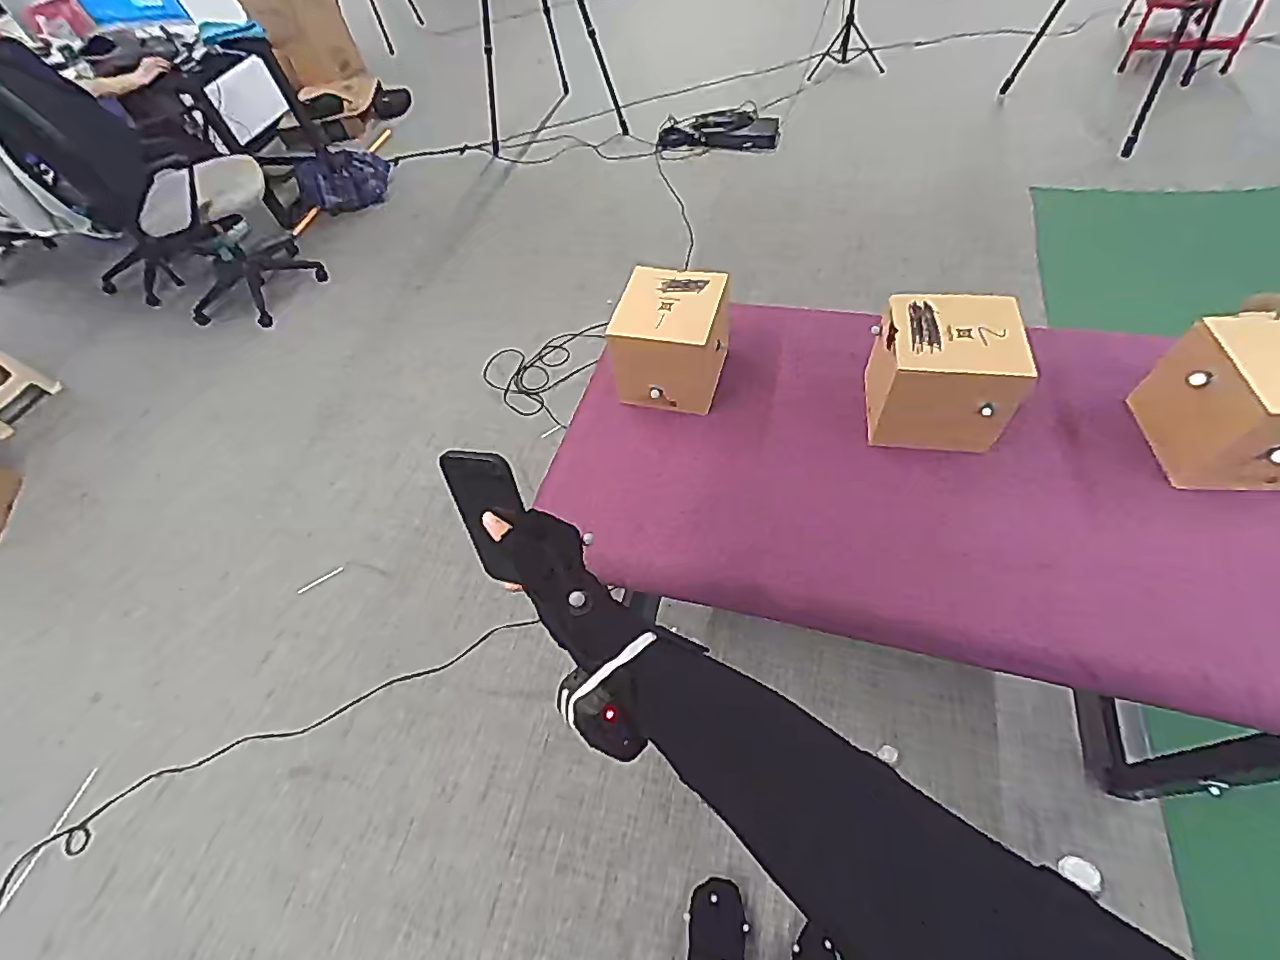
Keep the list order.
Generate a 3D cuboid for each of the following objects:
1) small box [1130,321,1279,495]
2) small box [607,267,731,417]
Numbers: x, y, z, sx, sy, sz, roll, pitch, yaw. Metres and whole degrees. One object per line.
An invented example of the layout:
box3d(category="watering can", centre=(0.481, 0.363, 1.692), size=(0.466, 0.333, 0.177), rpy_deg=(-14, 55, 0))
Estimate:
box3d(category="small box", centre=(0.829, -0.092, 0.729), size=(0.168, 0.176, 0.179), rpy_deg=(1, 55, 10))
box3d(category="small box", centre=(0.057, -0.239, 0.940), size=(0.168, 0.176, 0.179), rpy_deg=(11, 59, 15))
